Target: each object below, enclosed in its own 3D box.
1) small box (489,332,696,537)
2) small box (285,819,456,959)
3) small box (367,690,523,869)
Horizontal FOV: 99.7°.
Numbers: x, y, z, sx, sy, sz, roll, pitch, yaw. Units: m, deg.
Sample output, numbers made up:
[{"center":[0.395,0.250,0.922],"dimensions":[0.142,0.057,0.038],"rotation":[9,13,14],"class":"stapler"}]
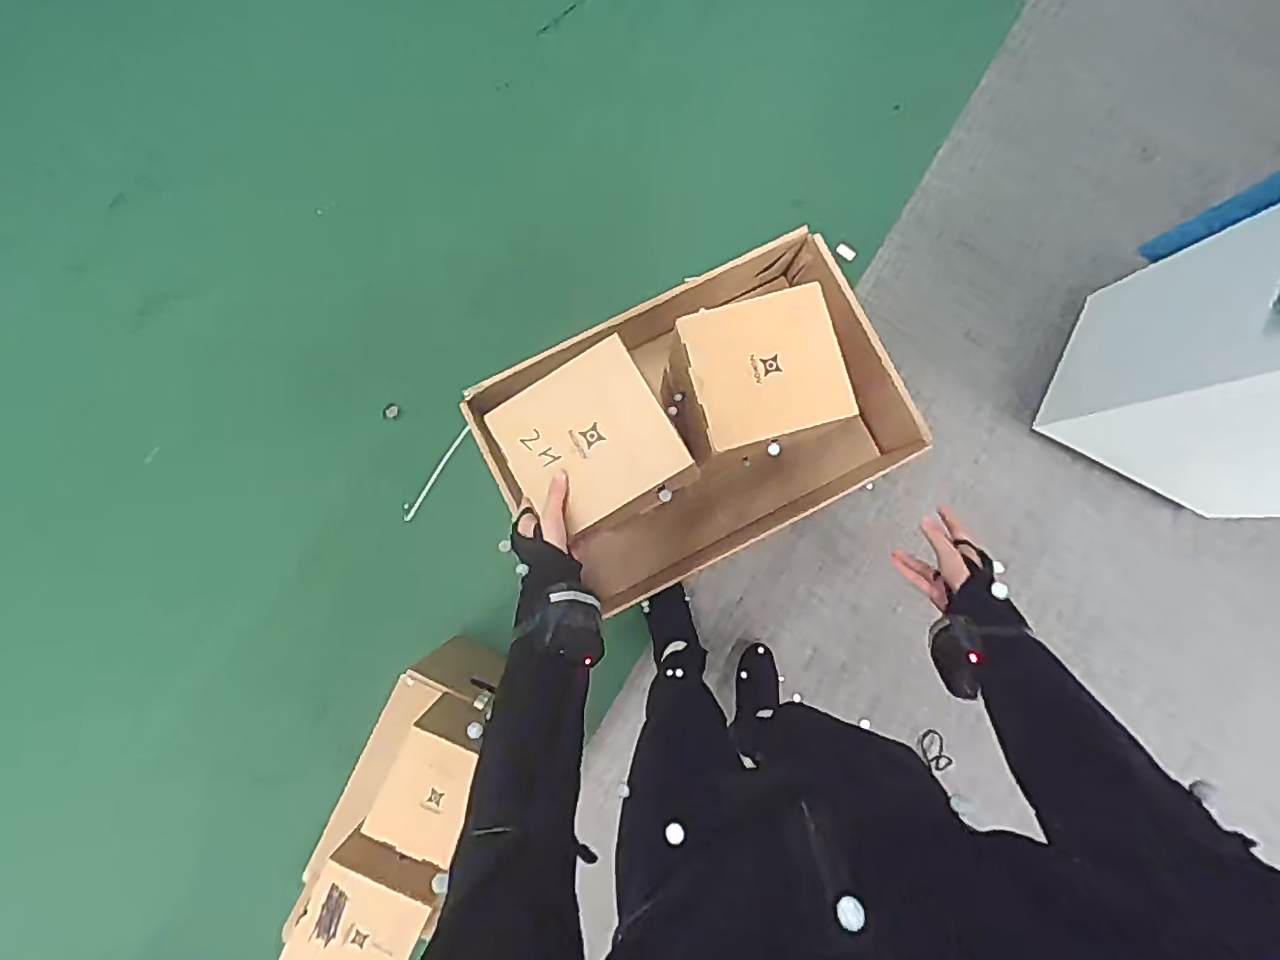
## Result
[{"center":[-0.045,-0.045,0.658],"dimensions":[0.179,0.176,0.168],"rotation":[-30,82,5],"class":"small box"},{"center":[-0.419,0.676,0.887],"dimensions":[0.179,0.176,0.168],"rotation":[25,85,0],"class":"small box"},{"center":[-0.311,0.487,0.908],"dimensions":[0.168,0.176,0.179],"rotation":[25,84,-1],"class":"small box"}]
